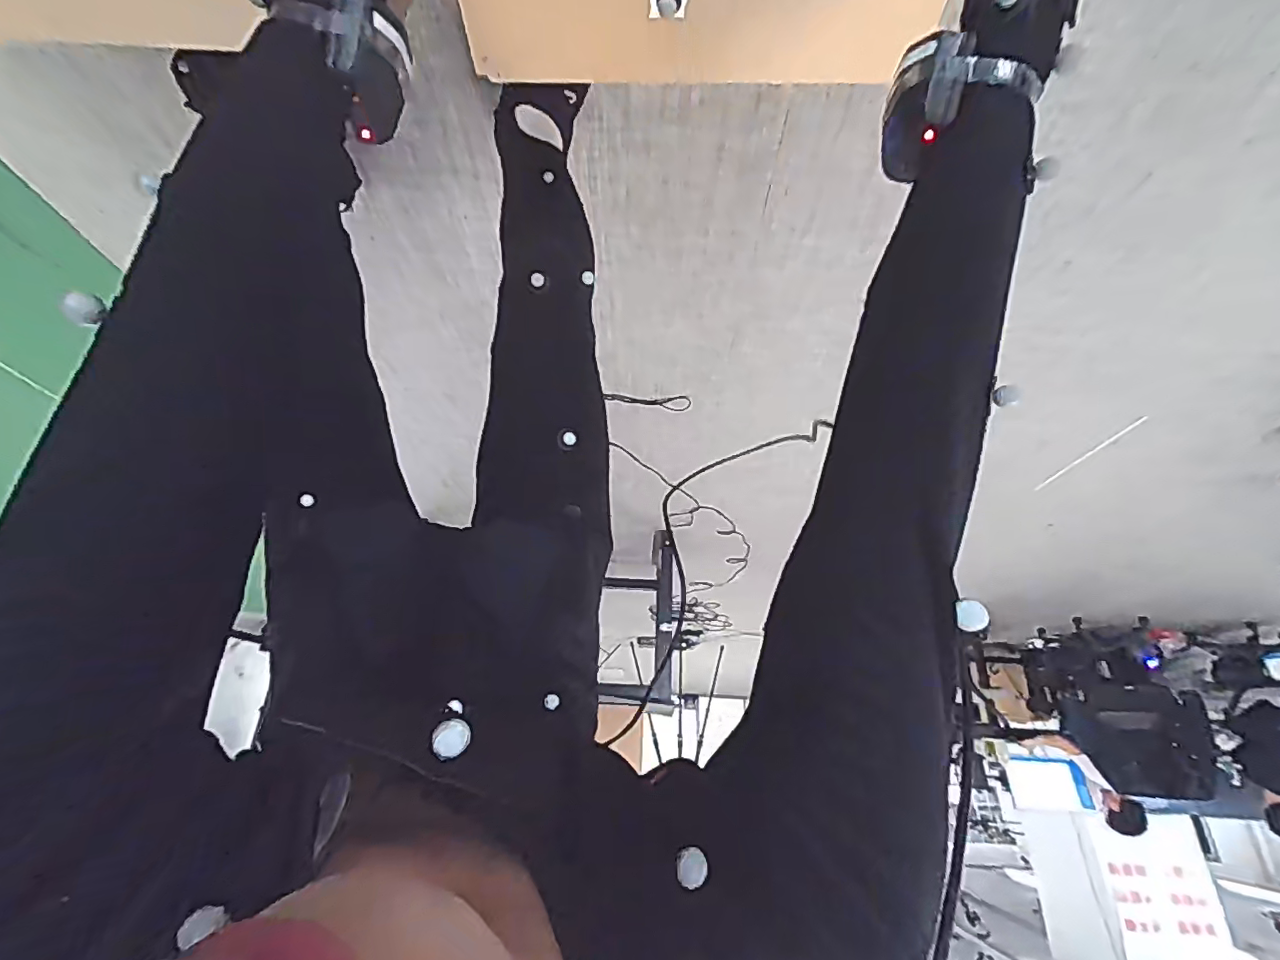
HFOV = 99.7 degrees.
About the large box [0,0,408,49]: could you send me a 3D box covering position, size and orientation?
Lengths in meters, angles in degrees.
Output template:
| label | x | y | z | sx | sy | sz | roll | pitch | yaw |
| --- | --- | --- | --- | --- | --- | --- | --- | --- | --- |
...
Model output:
| label | x | y | z | sx | sy | sz | roll | pitch | yaw |
| --- | --- | --- | --- | --- | --- | --- | --- | --- | --- |
| large box | -0.415 | -0.613 | 0.429 | 0.408 | 0.320 | 0.320 | 4 | 154 | 0 |
